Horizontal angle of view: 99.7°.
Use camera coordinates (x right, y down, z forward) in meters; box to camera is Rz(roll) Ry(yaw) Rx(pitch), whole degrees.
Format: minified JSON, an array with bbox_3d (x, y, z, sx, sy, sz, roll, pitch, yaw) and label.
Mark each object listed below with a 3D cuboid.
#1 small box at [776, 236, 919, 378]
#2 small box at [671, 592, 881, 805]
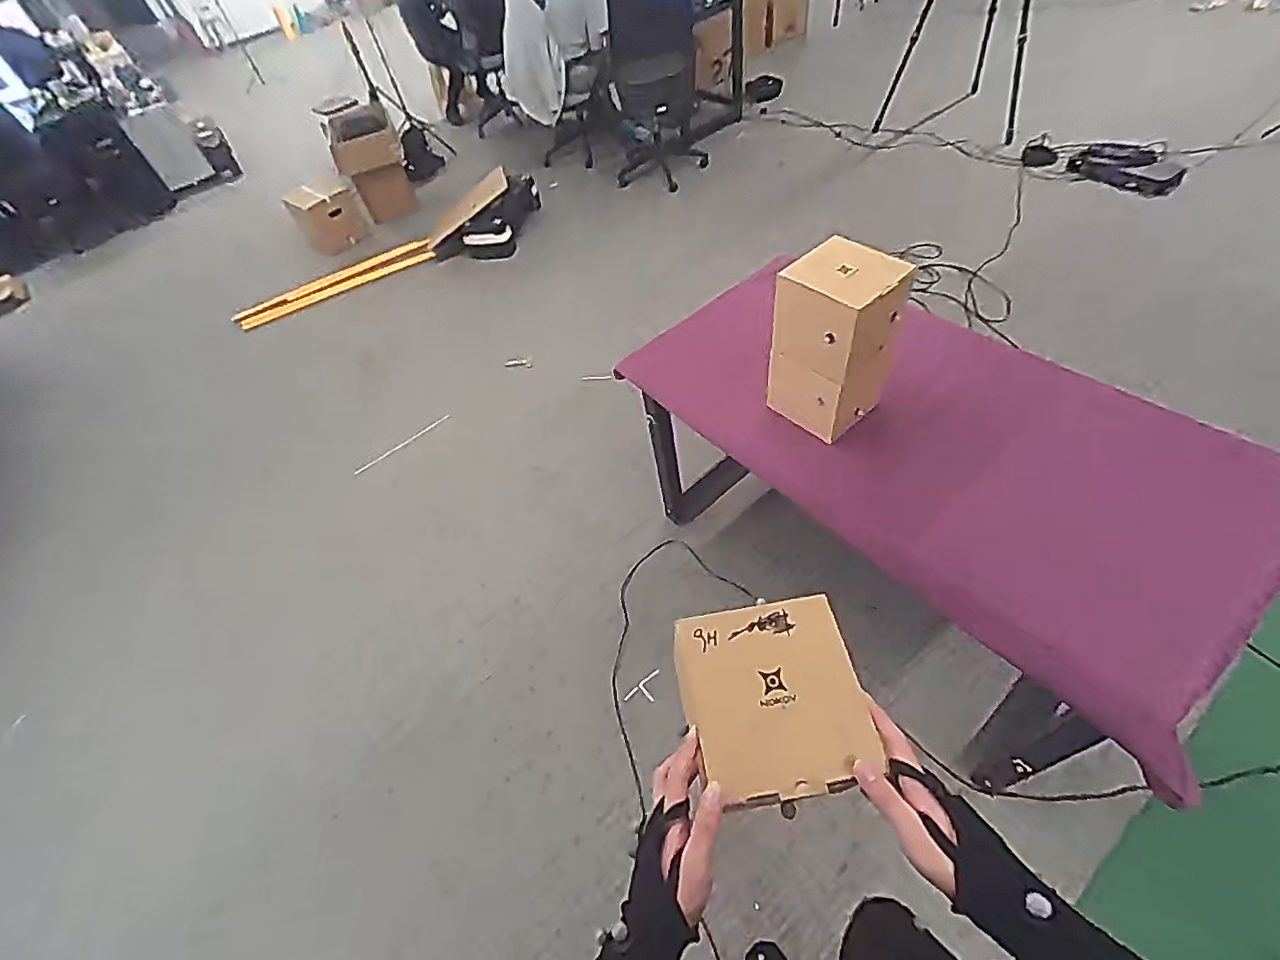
[{"bbox_3d":[0.375,-0.315,1.007,0.168,0.176,0.179,-36,55,-18],"label":"small box"},{"bbox_3d":[0.131,0.246,0.594,0.168,0.176,0.179,-9,57,-2],"label":"small box"}]
